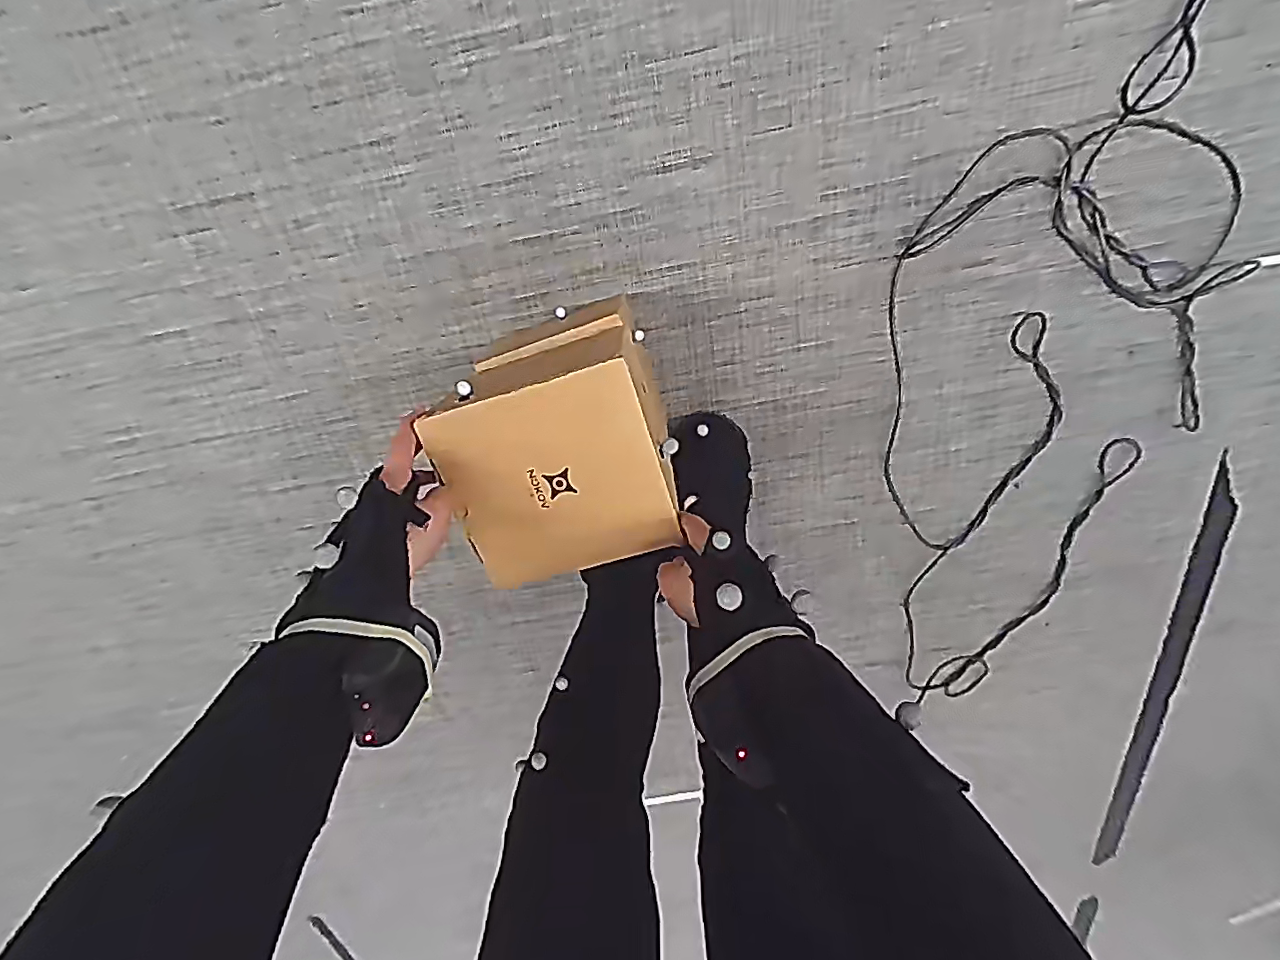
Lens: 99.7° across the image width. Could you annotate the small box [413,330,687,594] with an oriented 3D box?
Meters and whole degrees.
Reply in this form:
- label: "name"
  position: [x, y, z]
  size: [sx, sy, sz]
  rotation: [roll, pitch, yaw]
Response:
- label: "small box"
  position: [-0.067, -0.028, 0.500]
  size: [0.179, 0.176, 0.168]
  rotation: [-16, 112, 7]
